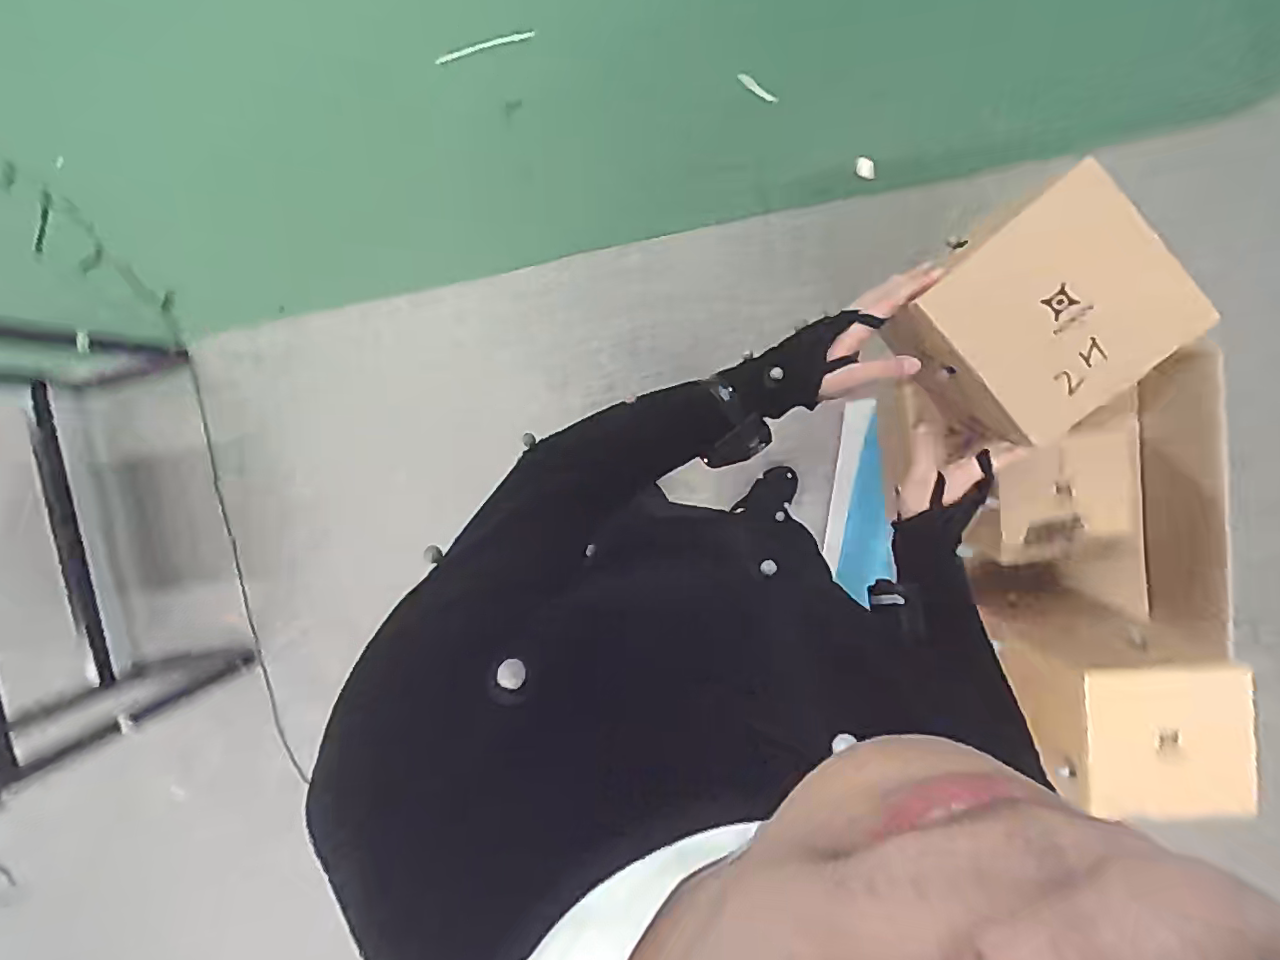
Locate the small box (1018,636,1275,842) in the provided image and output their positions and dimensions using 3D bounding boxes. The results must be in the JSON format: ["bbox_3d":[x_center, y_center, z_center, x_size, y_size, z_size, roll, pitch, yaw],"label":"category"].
[{"bbox_3d":[0.593,0.299,0.658,0.168,0.176,0.179,-6,94,10],"label":"small box"}]
